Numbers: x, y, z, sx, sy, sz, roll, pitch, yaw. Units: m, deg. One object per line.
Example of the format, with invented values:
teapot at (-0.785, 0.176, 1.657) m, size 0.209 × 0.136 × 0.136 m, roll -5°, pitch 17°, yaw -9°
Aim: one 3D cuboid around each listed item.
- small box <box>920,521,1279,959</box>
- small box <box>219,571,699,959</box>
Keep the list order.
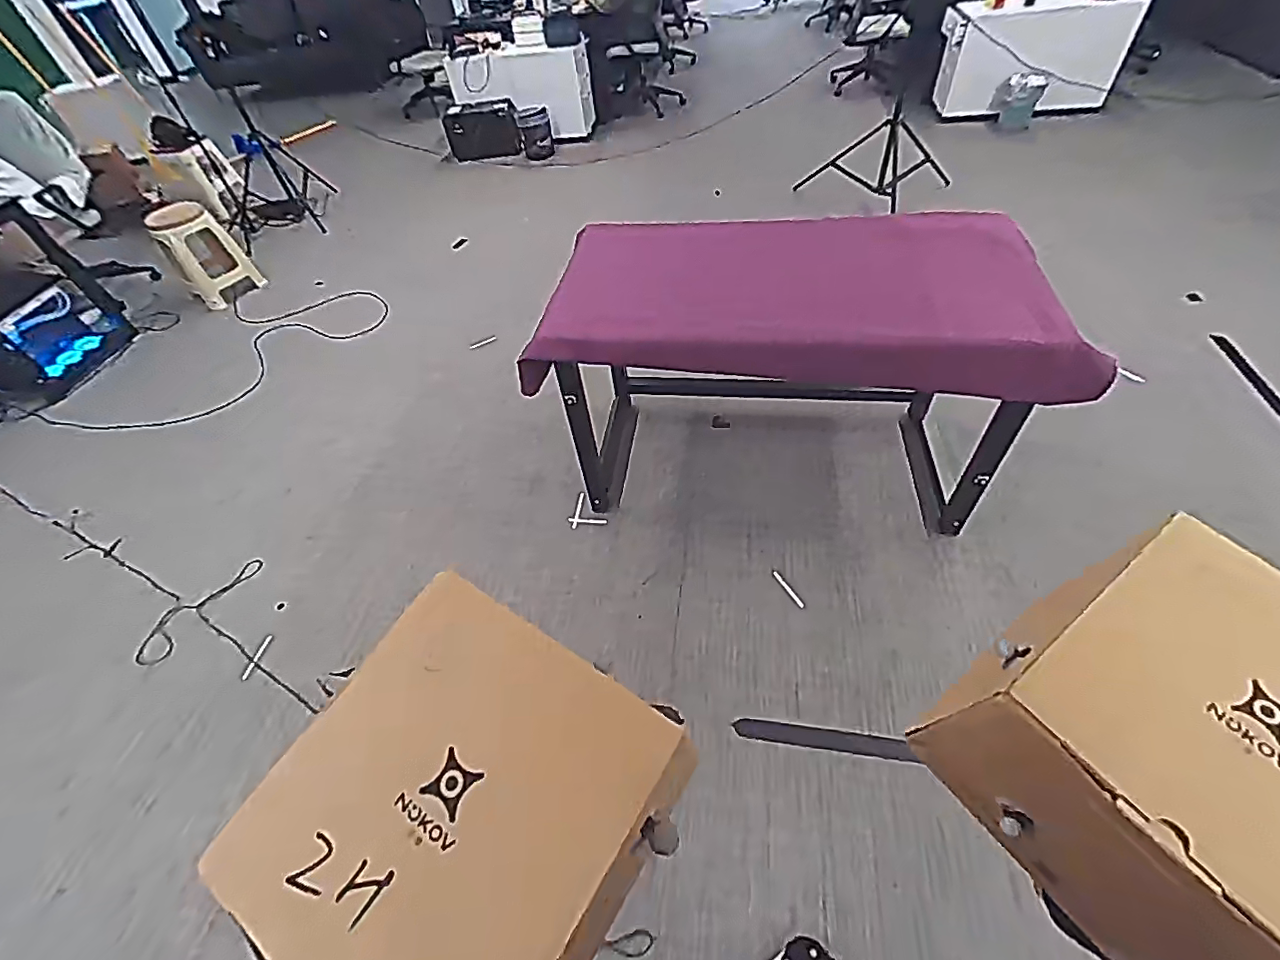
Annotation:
small box at (0.317, 0.164, 0.340) m, size 0.179 × 0.176 × 0.168 m, roll -35°, pitch 61°, yaw -15°
small box at (-0.076, 0.191, 0.323) m, size 0.168 × 0.176 × 0.179 m, roll 26°, pitch 67°, yaw 23°
